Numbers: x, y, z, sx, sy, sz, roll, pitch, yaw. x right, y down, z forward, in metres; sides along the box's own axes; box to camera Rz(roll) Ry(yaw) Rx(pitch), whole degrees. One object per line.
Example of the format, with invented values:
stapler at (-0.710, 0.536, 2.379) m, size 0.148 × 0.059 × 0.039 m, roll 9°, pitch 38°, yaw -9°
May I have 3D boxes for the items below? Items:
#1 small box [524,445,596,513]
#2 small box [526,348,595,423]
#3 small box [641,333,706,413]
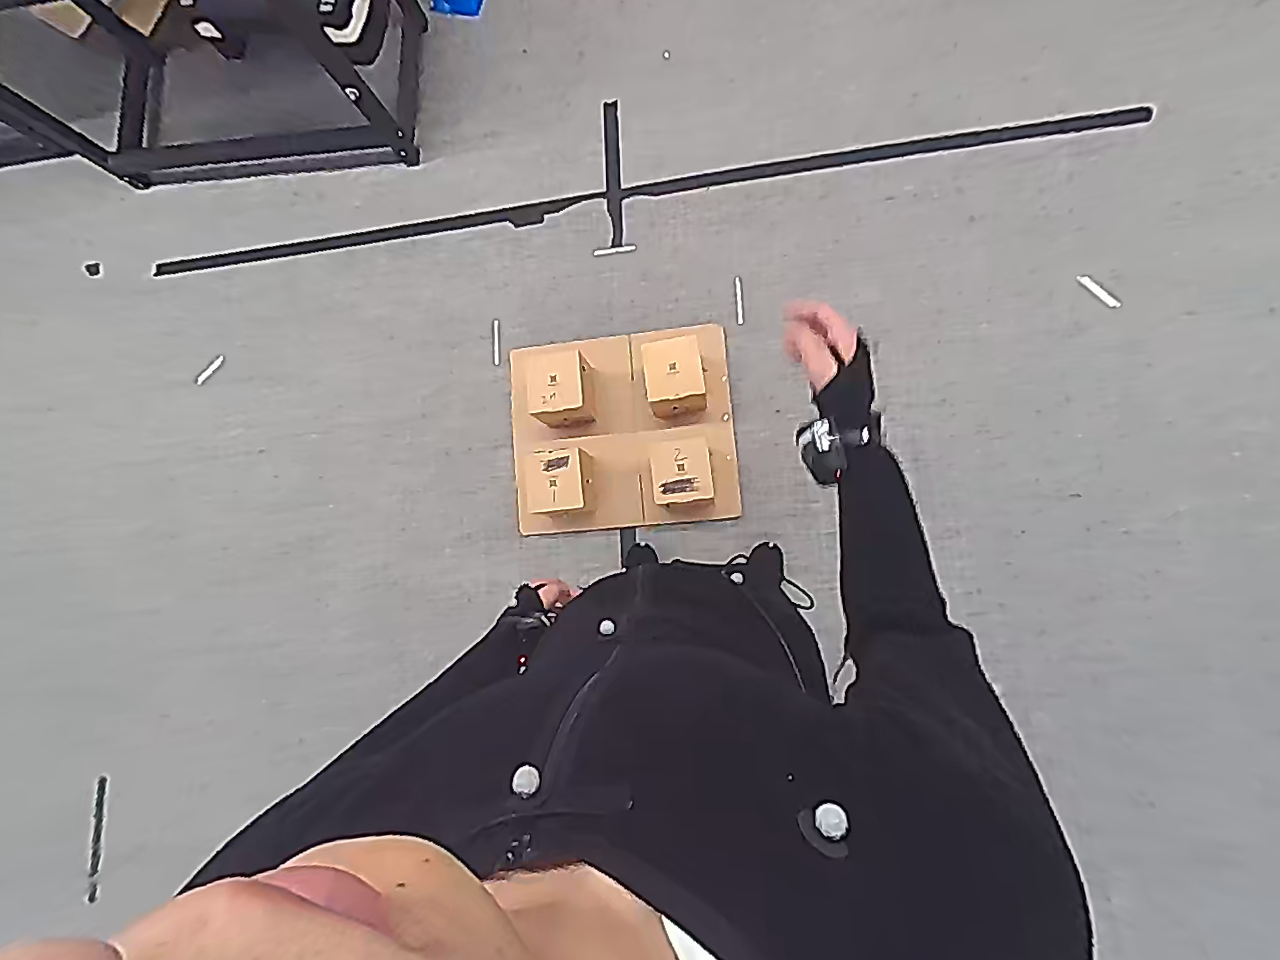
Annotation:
small box at (-0.234, 0.002, 1.611) m, size 0.168 × 0.176 × 0.179 m, roll -7°, pitch 84°, yaw 8°
small box at (-0.238, -0.282, 1.640) m, size 0.168 × 0.176 × 0.179 m, roll -6°, pitch 83°, yaw 8°
small box at (0.102, -0.310, 1.600) m, size 0.168 × 0.176 × 0.179 m, roll -9°, pitch 83°, yaw 7°
